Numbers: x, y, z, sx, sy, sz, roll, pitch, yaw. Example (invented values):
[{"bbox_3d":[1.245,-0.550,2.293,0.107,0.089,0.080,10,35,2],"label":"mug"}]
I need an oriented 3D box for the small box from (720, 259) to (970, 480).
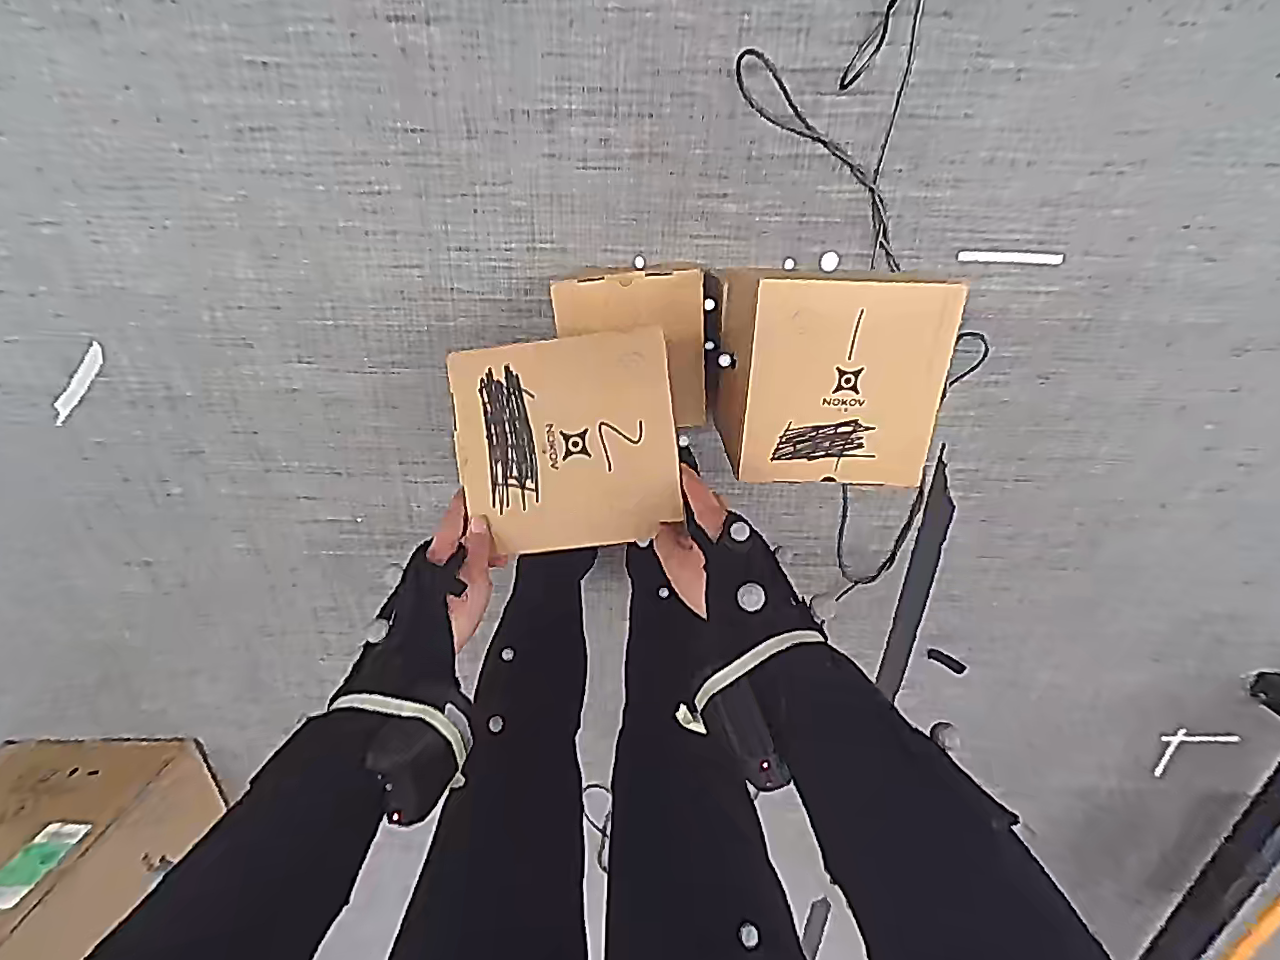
[{"bbox_3d":[0.171,-0.114,0.520,0.168,0.176,0.179,1,113,0],"label":"small box"}]
